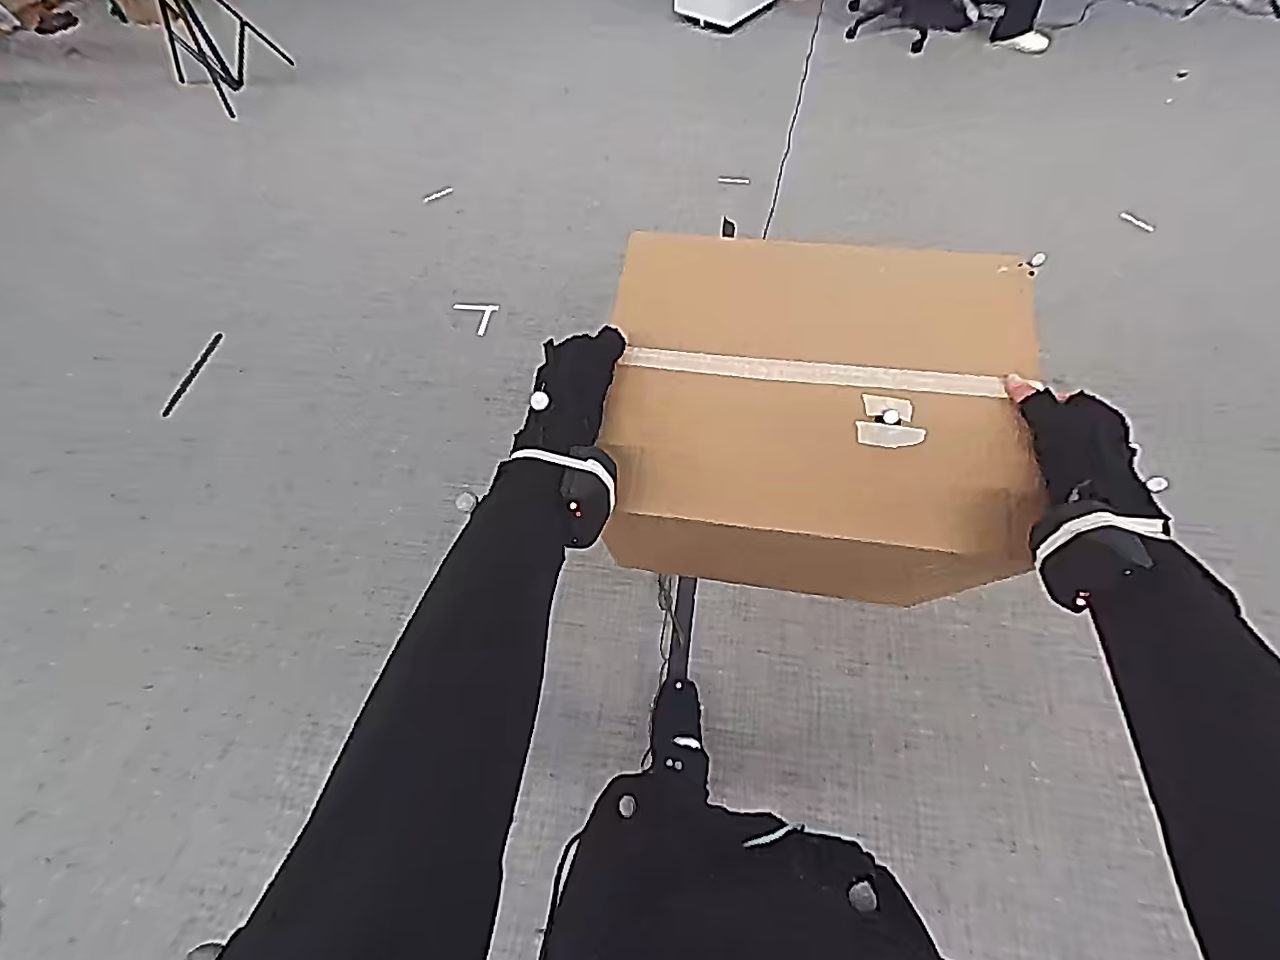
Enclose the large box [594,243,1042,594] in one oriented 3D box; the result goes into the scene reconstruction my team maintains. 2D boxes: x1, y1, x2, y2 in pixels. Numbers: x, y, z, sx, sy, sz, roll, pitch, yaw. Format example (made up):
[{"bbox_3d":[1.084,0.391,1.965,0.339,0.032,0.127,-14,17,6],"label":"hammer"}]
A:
[{"bbox_3d":[0.180,-0.053,0.671,0.408,0.320,0.320,7,73,7],"label":"large box"}]
